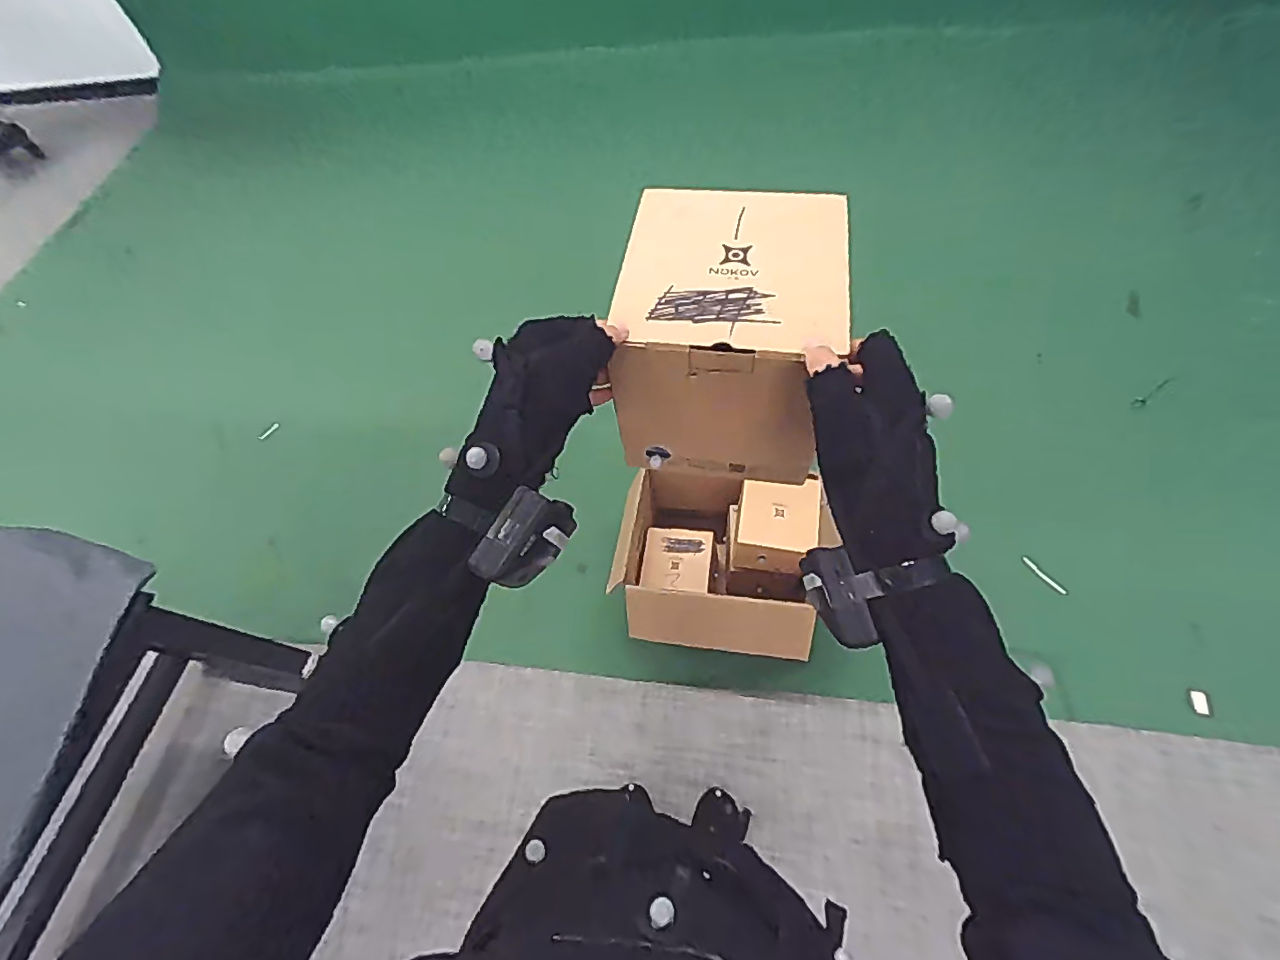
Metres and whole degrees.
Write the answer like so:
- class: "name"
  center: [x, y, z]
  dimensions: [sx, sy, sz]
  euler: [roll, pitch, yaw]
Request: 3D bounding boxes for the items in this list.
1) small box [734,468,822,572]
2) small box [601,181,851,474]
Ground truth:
- class: "small box"
  center: [0.305, 0.094, 1.217]
  dimensions: [0.168, 0.176, 0.179]
  euler: [8, 63, 9]
- class: "small box"
  center: [0.075, -0.123, 0.461]
  dimensions: [0.168, 0.176, 0.179]
  euler: [7, 61, 9]
